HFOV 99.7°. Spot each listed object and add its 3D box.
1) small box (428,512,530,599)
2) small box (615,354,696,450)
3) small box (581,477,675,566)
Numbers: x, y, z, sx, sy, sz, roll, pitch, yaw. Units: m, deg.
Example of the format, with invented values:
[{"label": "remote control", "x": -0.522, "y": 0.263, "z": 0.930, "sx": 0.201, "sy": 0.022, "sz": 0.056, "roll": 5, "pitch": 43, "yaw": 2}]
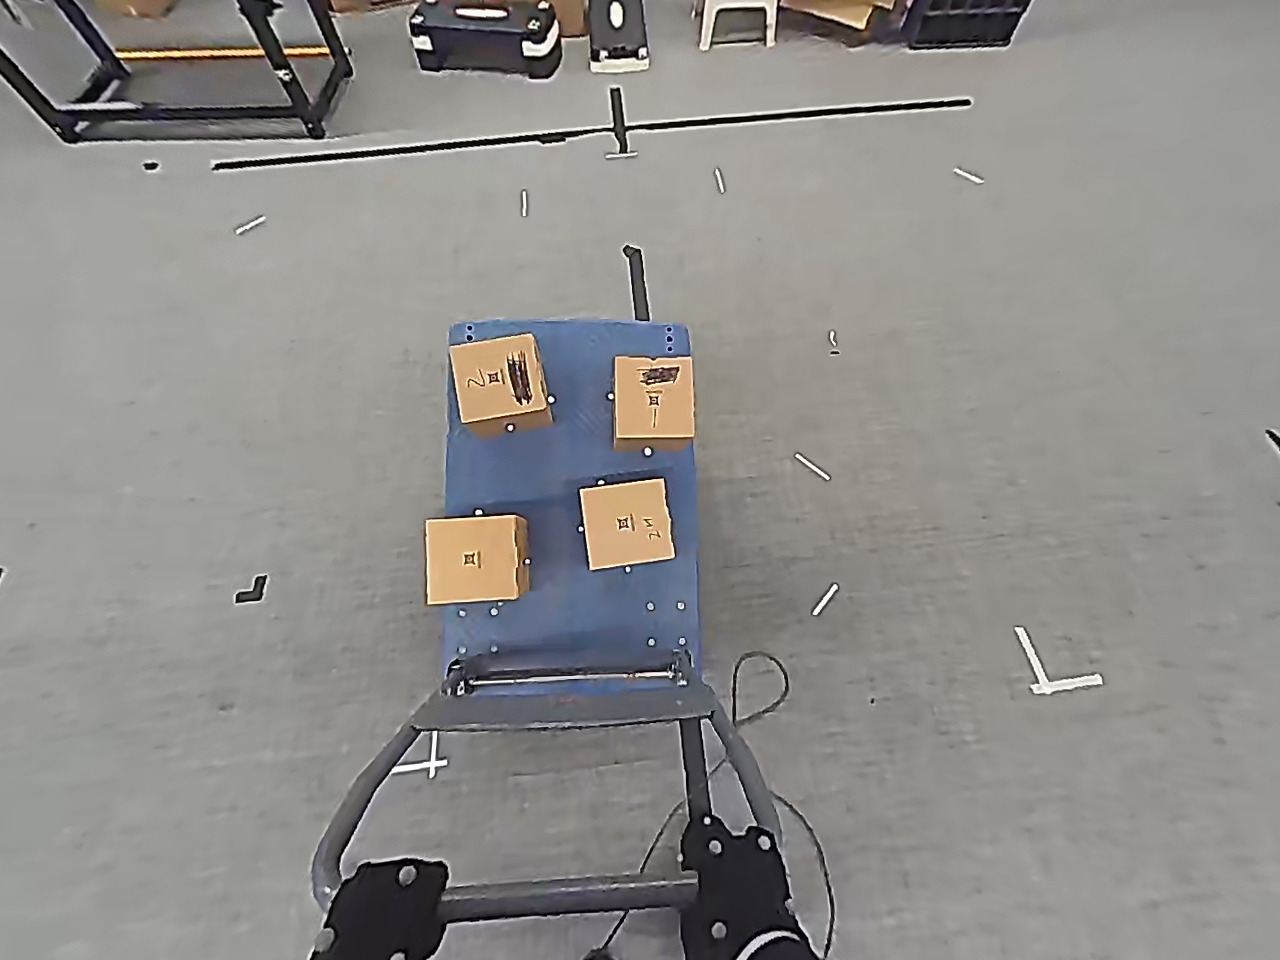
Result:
[{"label": "small box", "x": -0.332, "y": 0.159, "z": 1.141, "sx": 0.179, "sy": 0.176, "sz": 0.168, "roll": -3, "pitch": 83, "yaw": -6}, {"label": "small box", "x": 0.030, "y": -0.167, "z": 1.205, "sx": 0.168, "sy": 0.176, "sz": 0.179, "roll": 0, "pitch": 84, "yaw": -4}, {"label": "small box", "x": -0.028, "y": 0.093, "z": 1.168, "sx": 0.179, "sy": 0.176, "sz": 0.168, "roll": -7, "pitch": 84, "yaw": -5}]
